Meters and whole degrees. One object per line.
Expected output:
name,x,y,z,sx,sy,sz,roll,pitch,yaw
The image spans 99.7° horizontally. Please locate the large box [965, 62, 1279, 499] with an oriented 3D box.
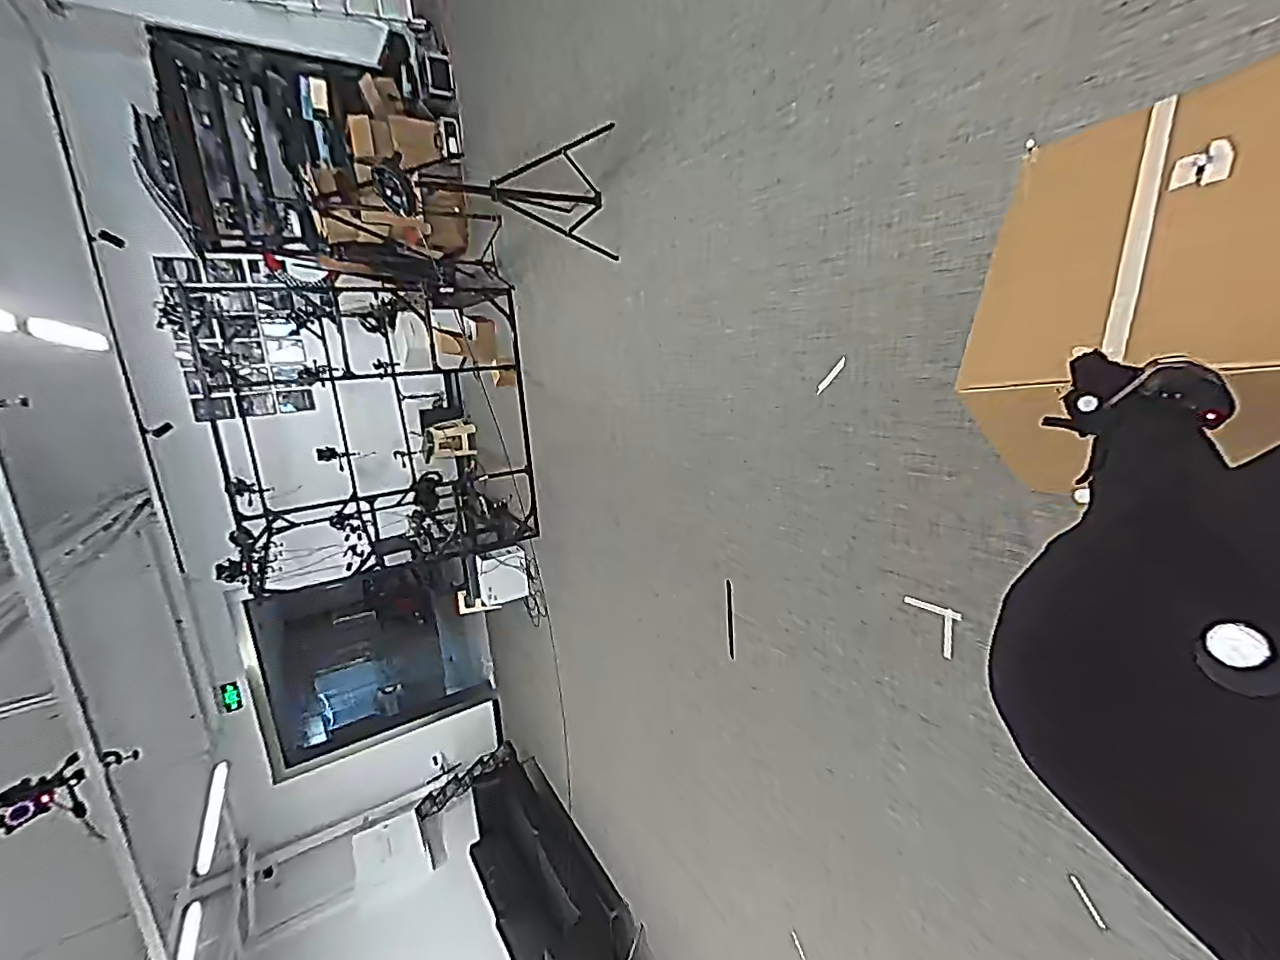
large box,0.687,-0.219,0.705,0.320,0.320,0.408,6,68,53
